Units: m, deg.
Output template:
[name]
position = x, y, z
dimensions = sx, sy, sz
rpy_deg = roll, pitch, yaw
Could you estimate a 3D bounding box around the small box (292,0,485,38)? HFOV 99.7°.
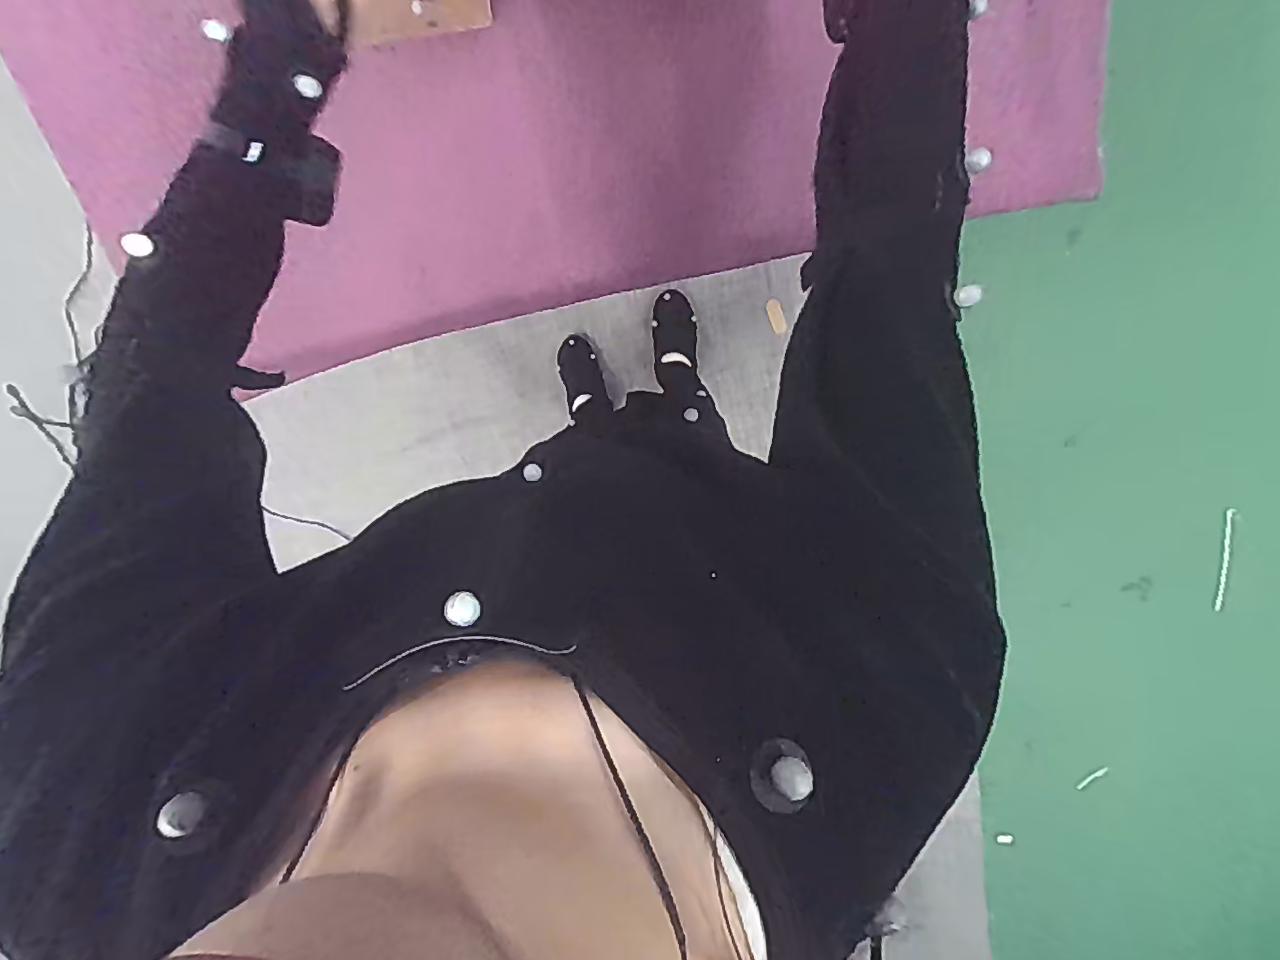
[small box]
position = -0.257, -0.542, 0.497
dimensions = 0.168, 0.176, 0.179
rpy_deg = -2, 110, 6
